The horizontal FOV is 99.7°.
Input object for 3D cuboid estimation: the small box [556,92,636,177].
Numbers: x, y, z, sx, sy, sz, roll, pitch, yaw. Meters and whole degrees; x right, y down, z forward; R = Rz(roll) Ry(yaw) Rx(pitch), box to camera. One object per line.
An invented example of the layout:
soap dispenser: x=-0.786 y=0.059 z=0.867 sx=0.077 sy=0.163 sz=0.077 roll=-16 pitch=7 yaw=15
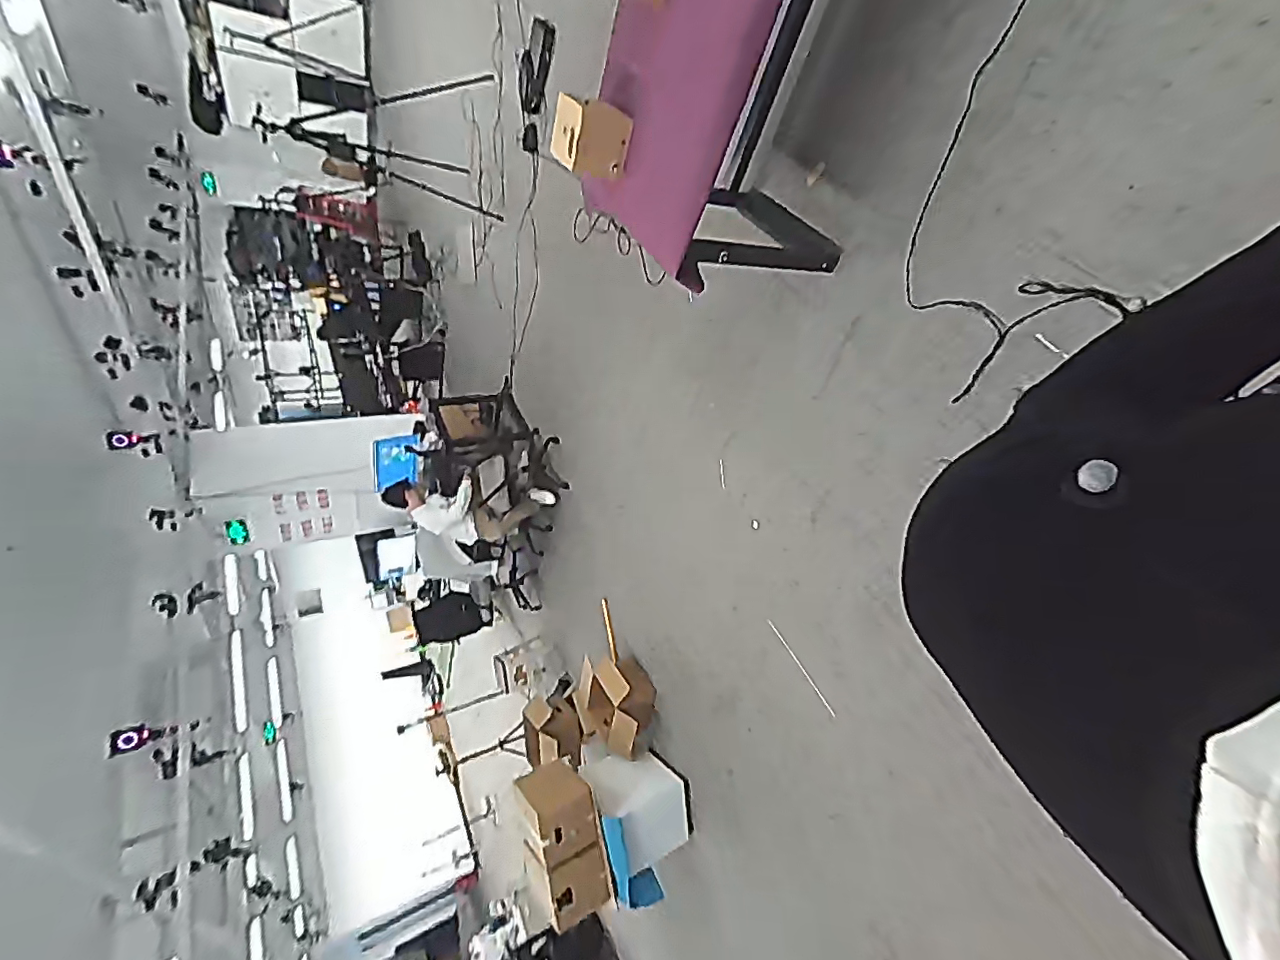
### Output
small box: x=-0.132 y=-1.029 z=1.621 sx=0.179 sy=0.176 sz=0.168 roll=57 pitch=142 yaw=34
